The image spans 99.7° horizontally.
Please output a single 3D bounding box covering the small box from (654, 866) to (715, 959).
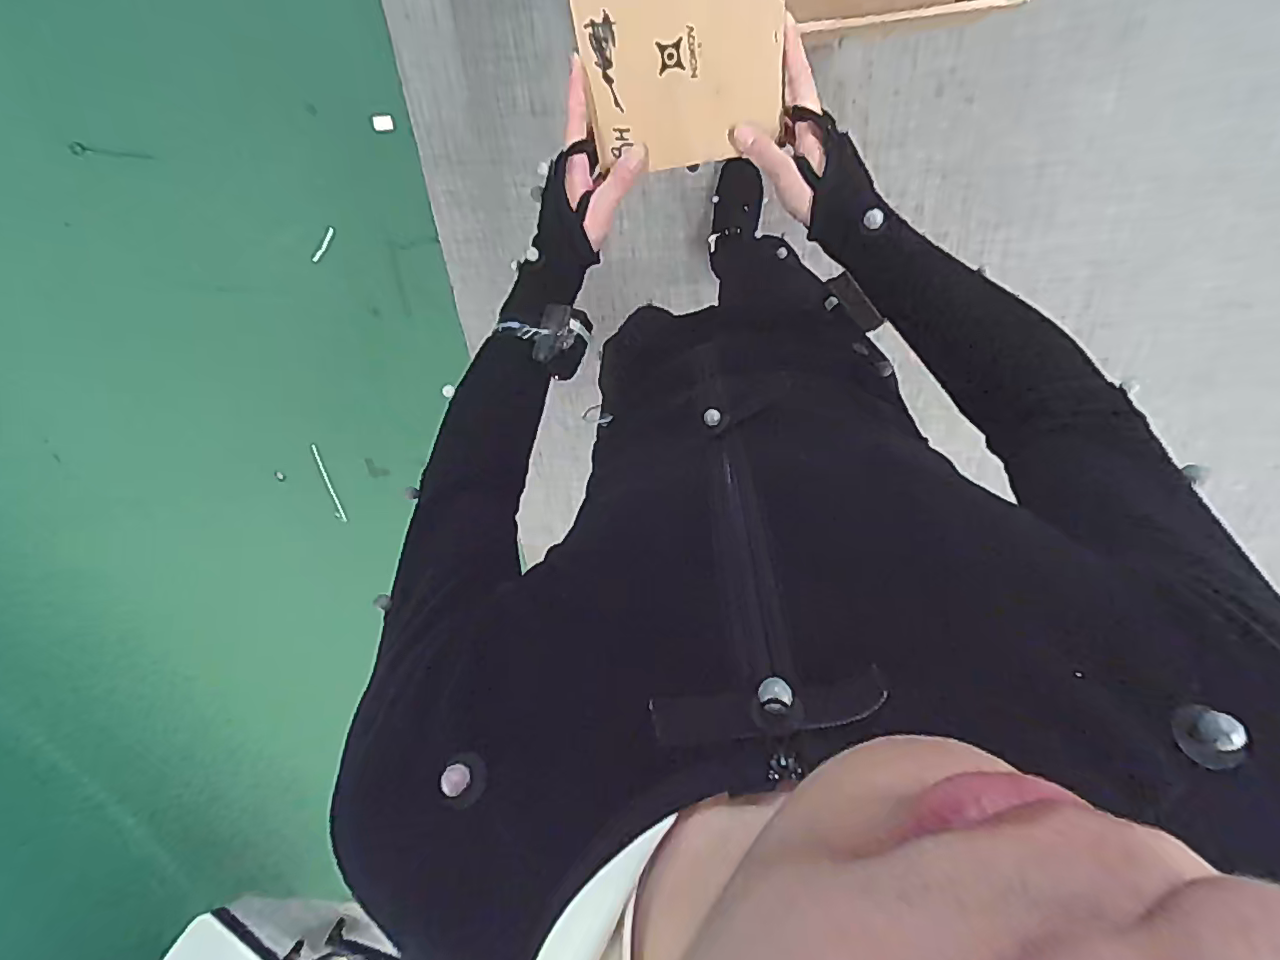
[{"bbox_3d":[0.131,1.246,1.546,0.168,0.176,0.179,-1,120,7],"label":"small box"}]

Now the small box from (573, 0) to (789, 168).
[{"bbox_3d":[0.041,-0.416,0.521,0.179,0.176,0.168,-5,124,9],"label":"small box"}]
